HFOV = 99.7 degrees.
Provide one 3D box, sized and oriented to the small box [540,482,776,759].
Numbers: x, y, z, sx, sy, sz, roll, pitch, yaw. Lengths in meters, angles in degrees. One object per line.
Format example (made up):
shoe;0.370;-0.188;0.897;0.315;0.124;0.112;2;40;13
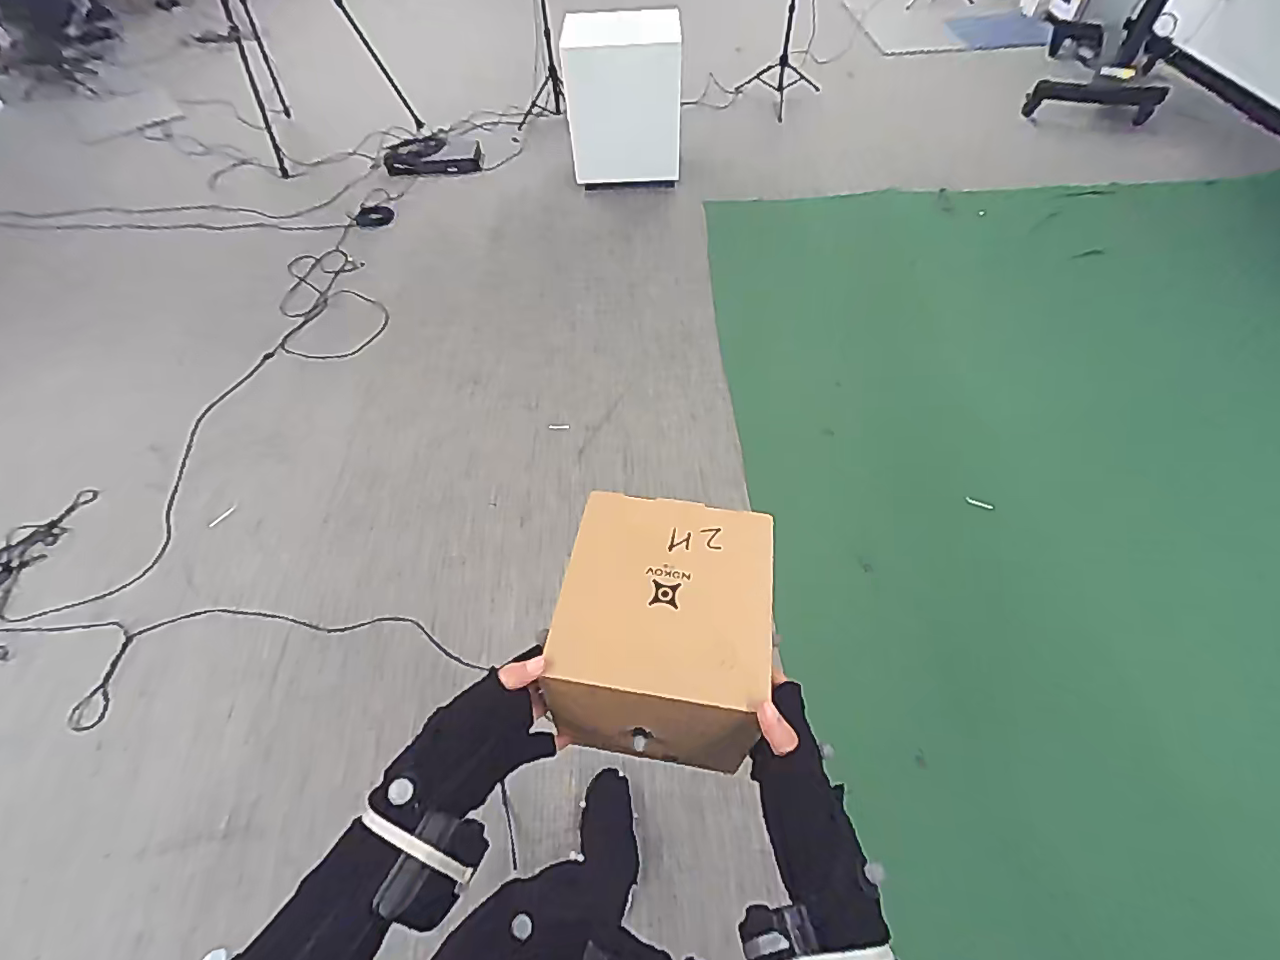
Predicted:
small box;0.022;0.129;0.486;0.168;0.176;0.179;8;49;6
